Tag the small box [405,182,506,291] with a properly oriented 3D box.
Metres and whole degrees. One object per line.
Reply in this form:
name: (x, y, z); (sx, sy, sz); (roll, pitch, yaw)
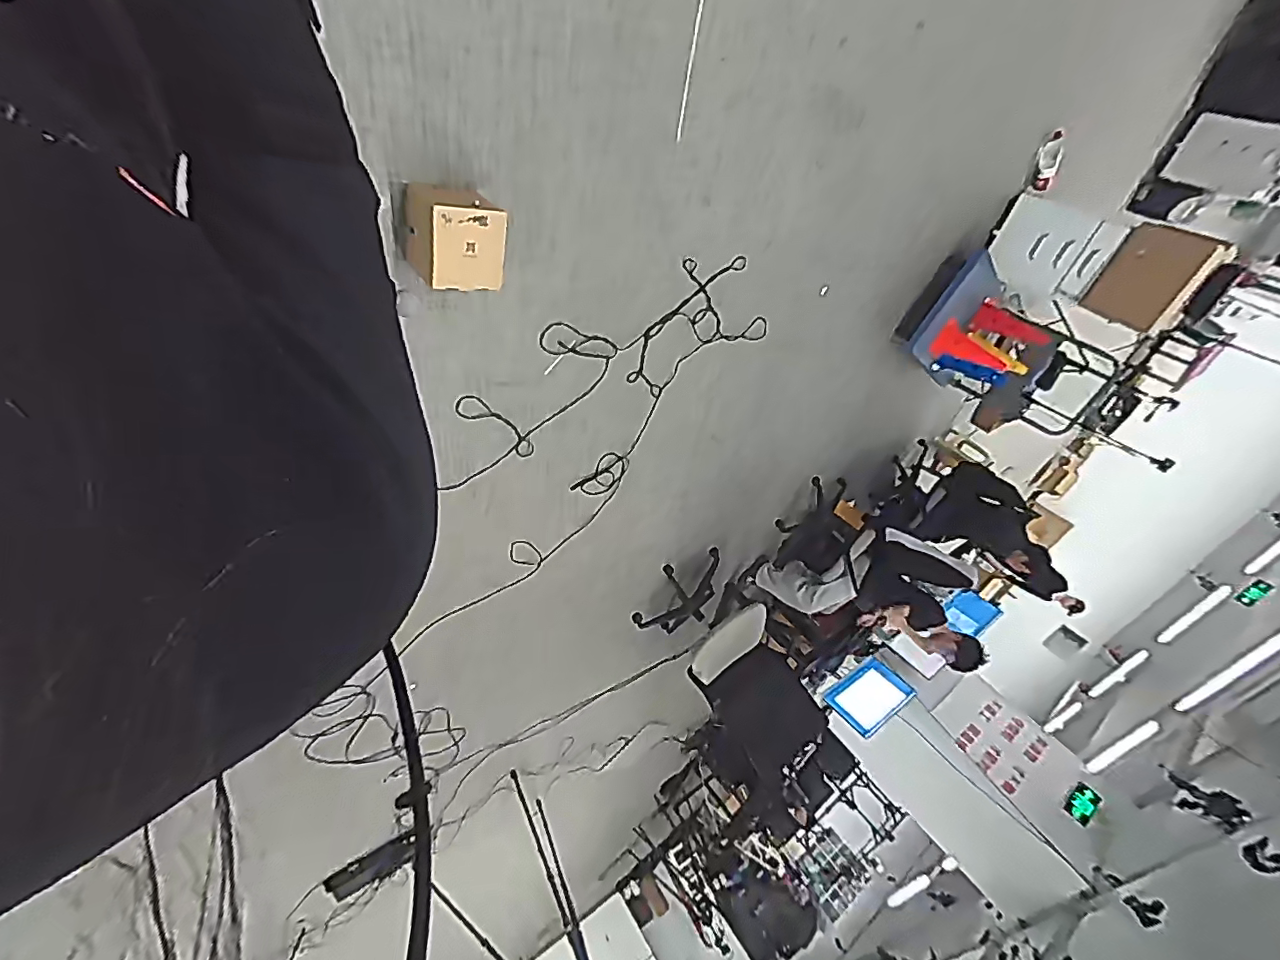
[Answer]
small box: (-0.424, -0.550, 1.229); (0.168, 0.176, 0.179); (-14, 136, -37)
